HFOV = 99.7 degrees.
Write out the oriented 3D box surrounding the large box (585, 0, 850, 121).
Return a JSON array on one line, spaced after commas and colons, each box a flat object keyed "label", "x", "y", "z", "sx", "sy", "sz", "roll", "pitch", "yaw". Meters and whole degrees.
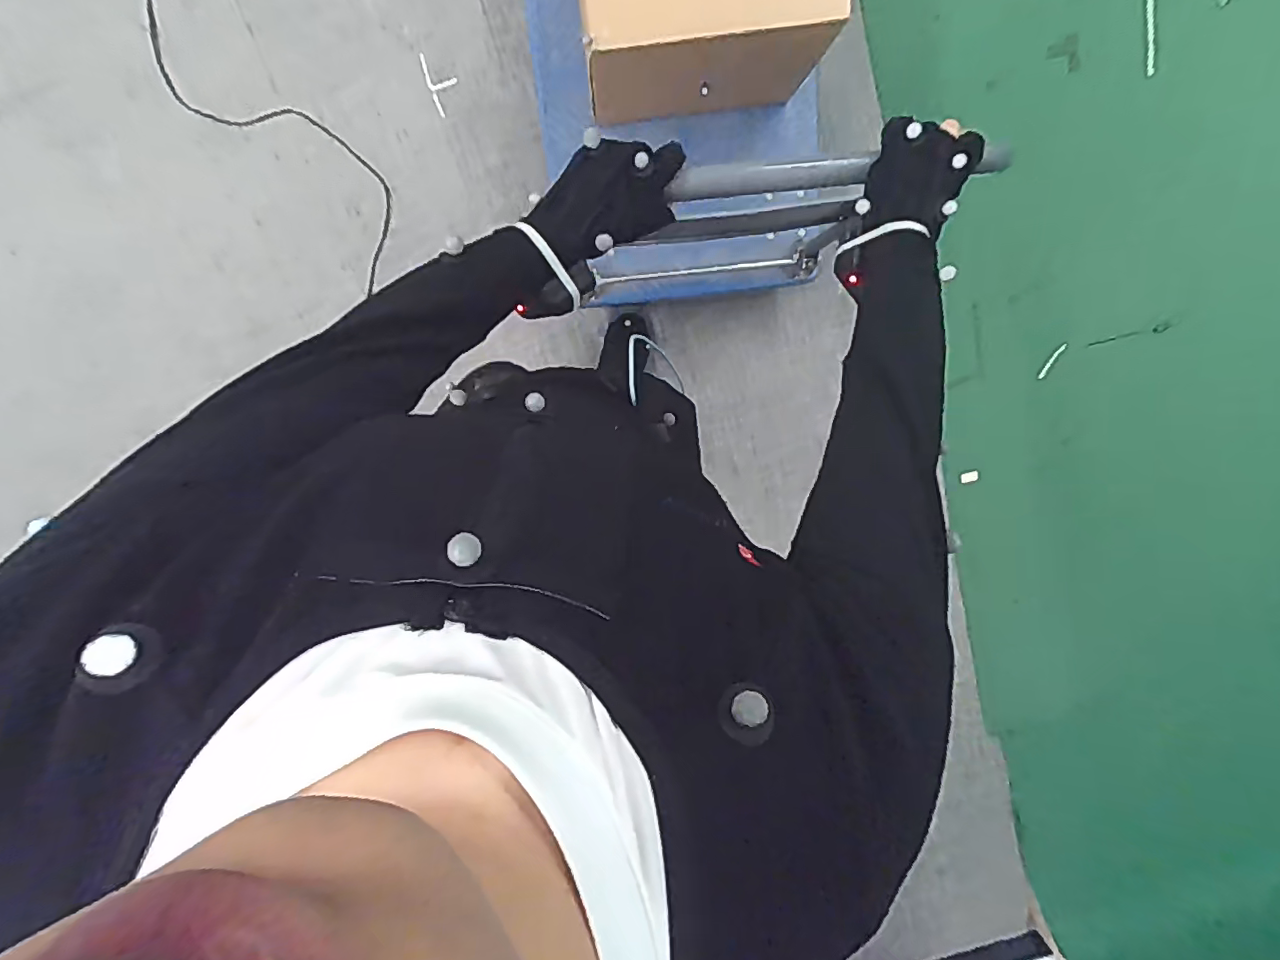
[{"label": "large box", "x": 0.104, "y": -0.871, "z": 0.936, "sx": 0.408, "sy": 0.320, "sz": 0.320, "roll": -8, "pitch": 105, "yaw": 0}]
